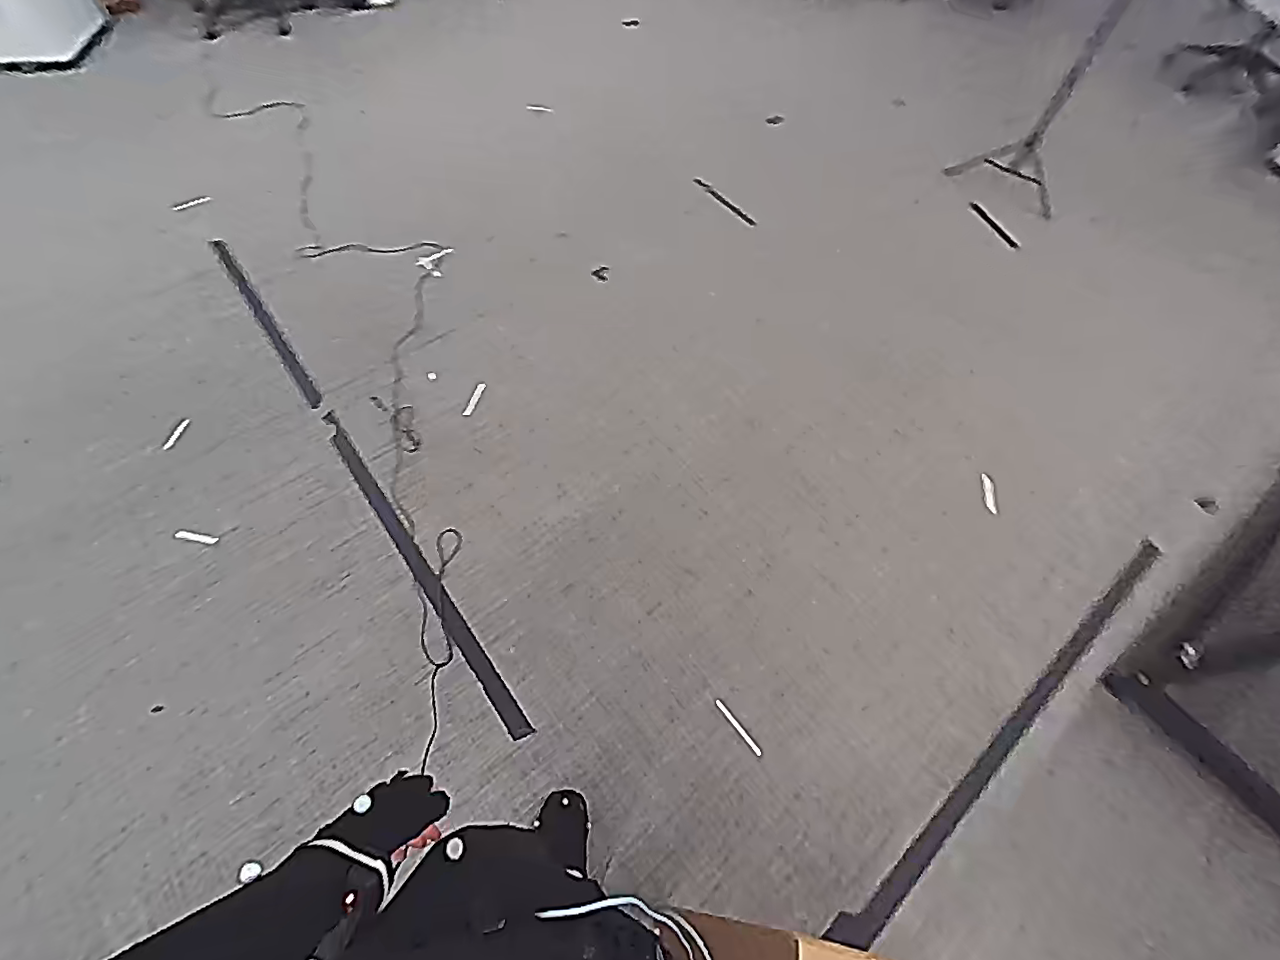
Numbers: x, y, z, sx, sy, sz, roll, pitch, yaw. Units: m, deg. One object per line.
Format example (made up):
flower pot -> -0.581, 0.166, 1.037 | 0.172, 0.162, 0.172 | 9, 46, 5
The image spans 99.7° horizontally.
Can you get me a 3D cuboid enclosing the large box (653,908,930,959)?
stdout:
large box -> 0.214, 0.772, 0.679 | 0.320, 0.408, 0.320 | 21, 52, -8
